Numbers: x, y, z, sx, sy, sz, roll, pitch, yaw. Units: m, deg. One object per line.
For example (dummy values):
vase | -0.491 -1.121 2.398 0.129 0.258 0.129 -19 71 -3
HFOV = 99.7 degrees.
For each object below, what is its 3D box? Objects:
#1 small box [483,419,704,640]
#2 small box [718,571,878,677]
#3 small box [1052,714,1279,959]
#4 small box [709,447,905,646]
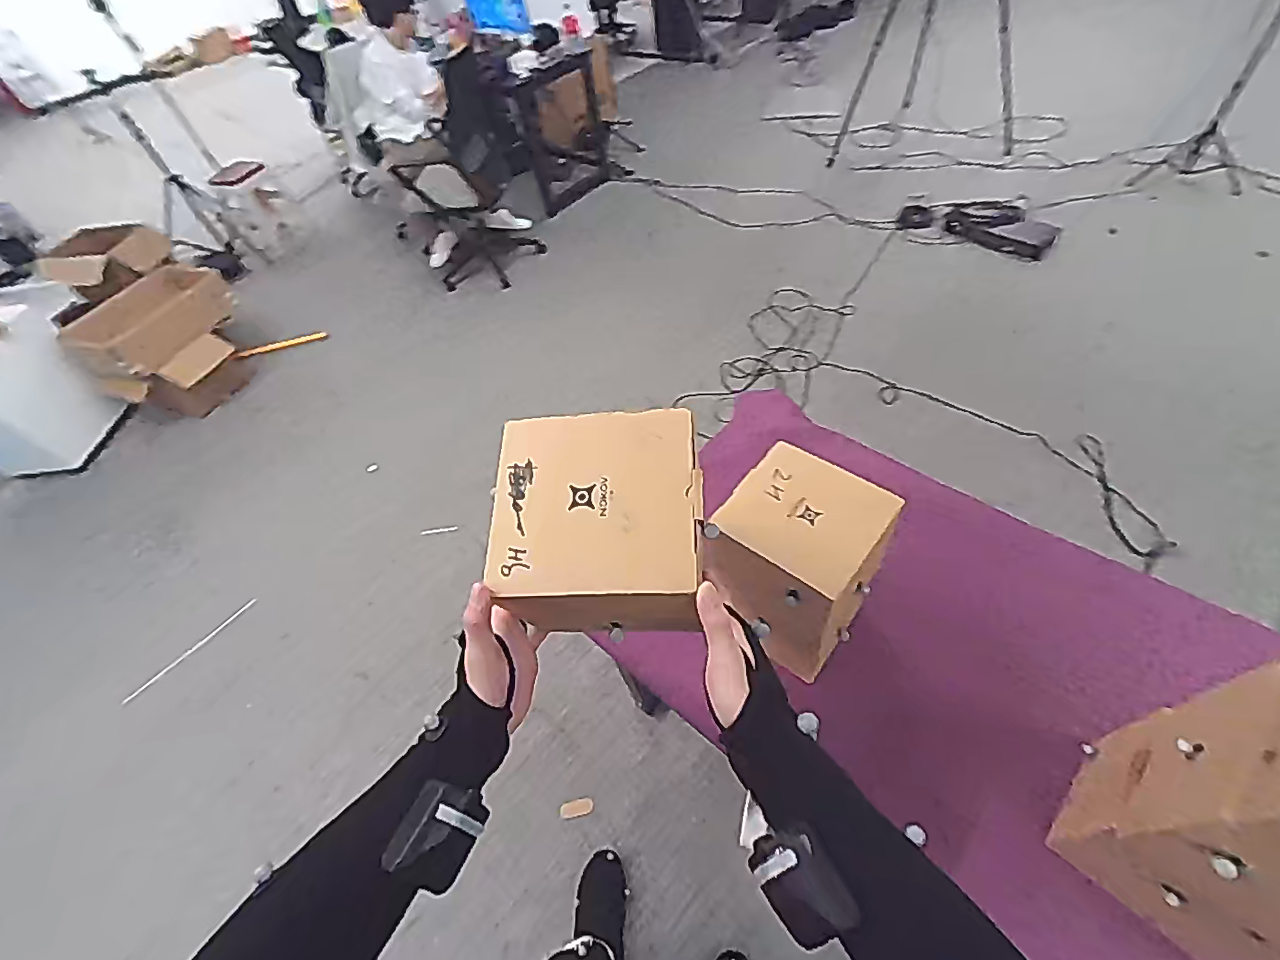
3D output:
small box | -0.029 0.056 0.525 0.179 0.176 0.168 -2 63 6
small box | 0.242 0.184 0.851 0.179 0.176 0.168 30 63 29
small box | 0.615 0.407 0.605 0.179 0.176 0.168 35 65 31
small box | 0.211 0.094 0.716 0.179 0.176 0.168 32 63 30
